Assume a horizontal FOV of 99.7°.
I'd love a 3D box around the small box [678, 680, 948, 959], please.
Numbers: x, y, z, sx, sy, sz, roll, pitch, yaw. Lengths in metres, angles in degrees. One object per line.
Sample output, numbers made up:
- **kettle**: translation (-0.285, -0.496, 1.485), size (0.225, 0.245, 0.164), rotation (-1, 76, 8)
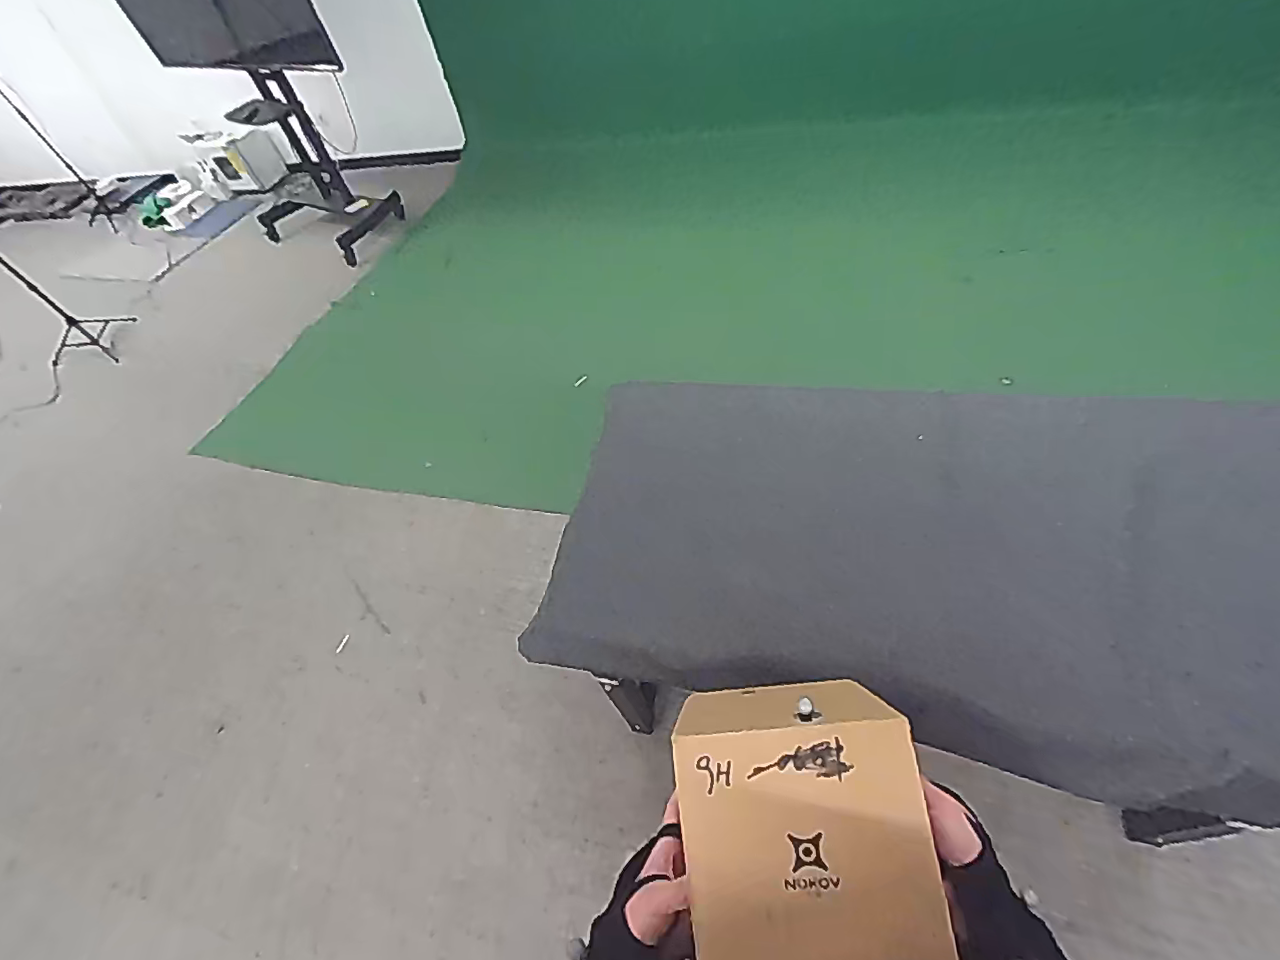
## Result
- **small box**: translation (0.128, 0.279, 0.450), size (0.168, 0.176, 0.179), rotation (-8, 79, 7)
